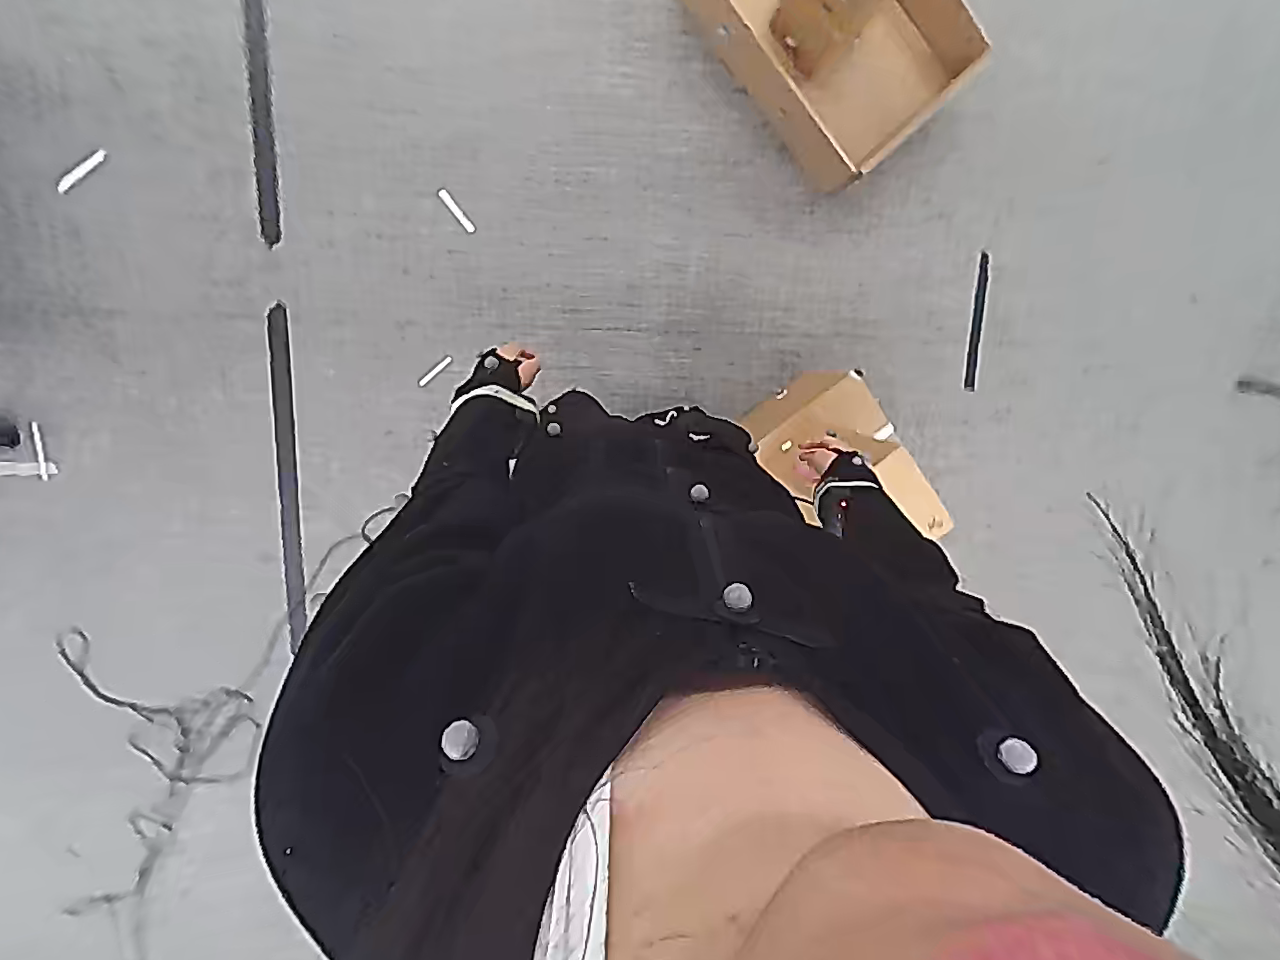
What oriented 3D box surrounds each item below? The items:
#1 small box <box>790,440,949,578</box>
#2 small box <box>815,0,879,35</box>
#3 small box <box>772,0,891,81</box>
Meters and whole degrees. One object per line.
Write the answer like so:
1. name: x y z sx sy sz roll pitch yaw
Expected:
1. small box: 0.401 0.041 0.977 0.168 0.176 0.179 -37 101 4
2. small box: 0.433 -1.026 1.040 0.168 0.176 0.179 43 94 -12
3. small box: 0.423 -1.052 1.199 0.179 0.176 0.168 -41 101 5
